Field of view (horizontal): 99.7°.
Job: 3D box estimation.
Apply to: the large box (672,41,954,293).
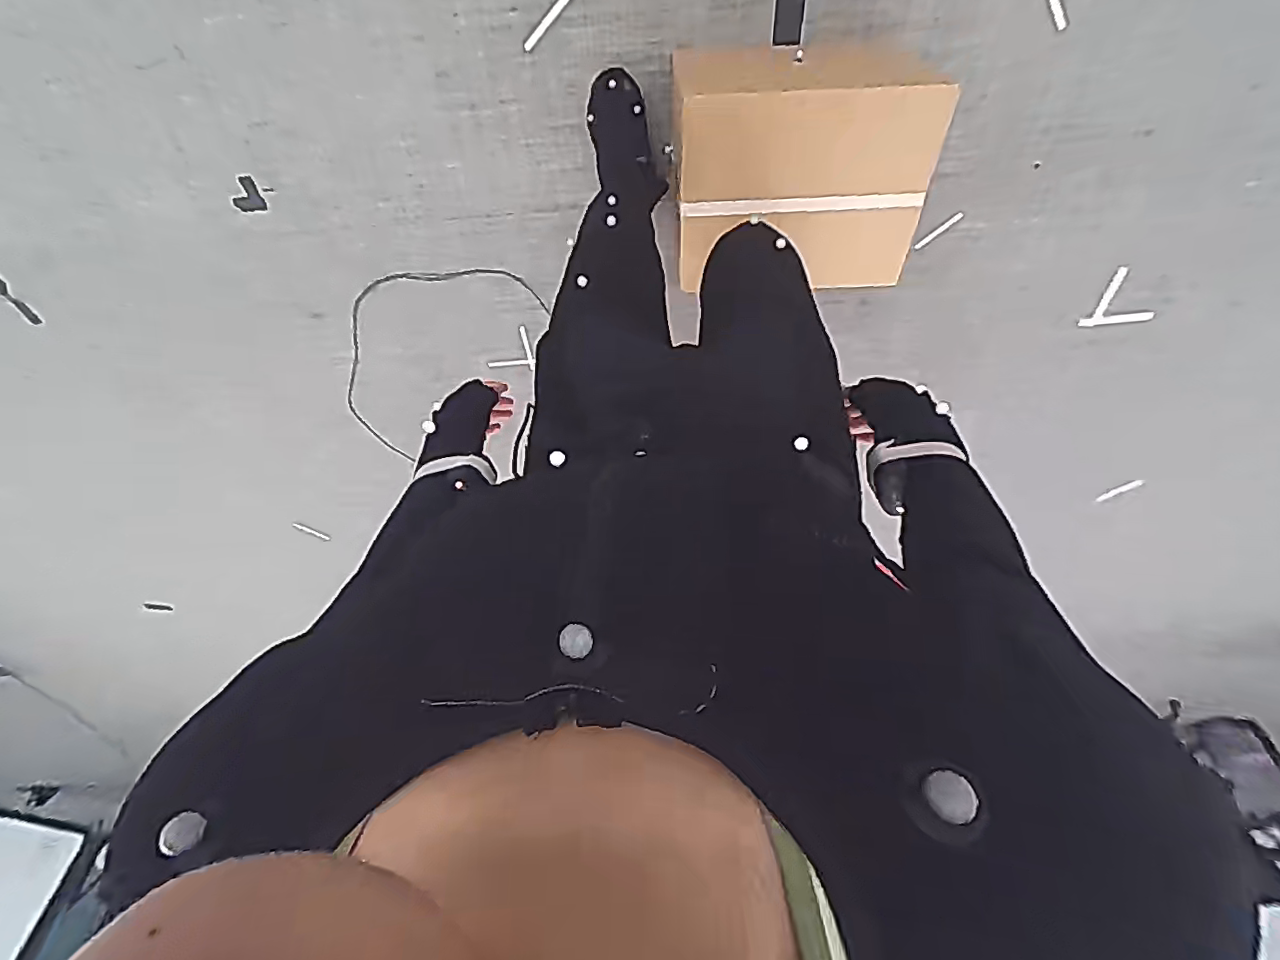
[{"bbox_3d":[0.267,-0.573,0.996,0.408,0.320,0.320,-2,138,1],"label":"large box"}]
